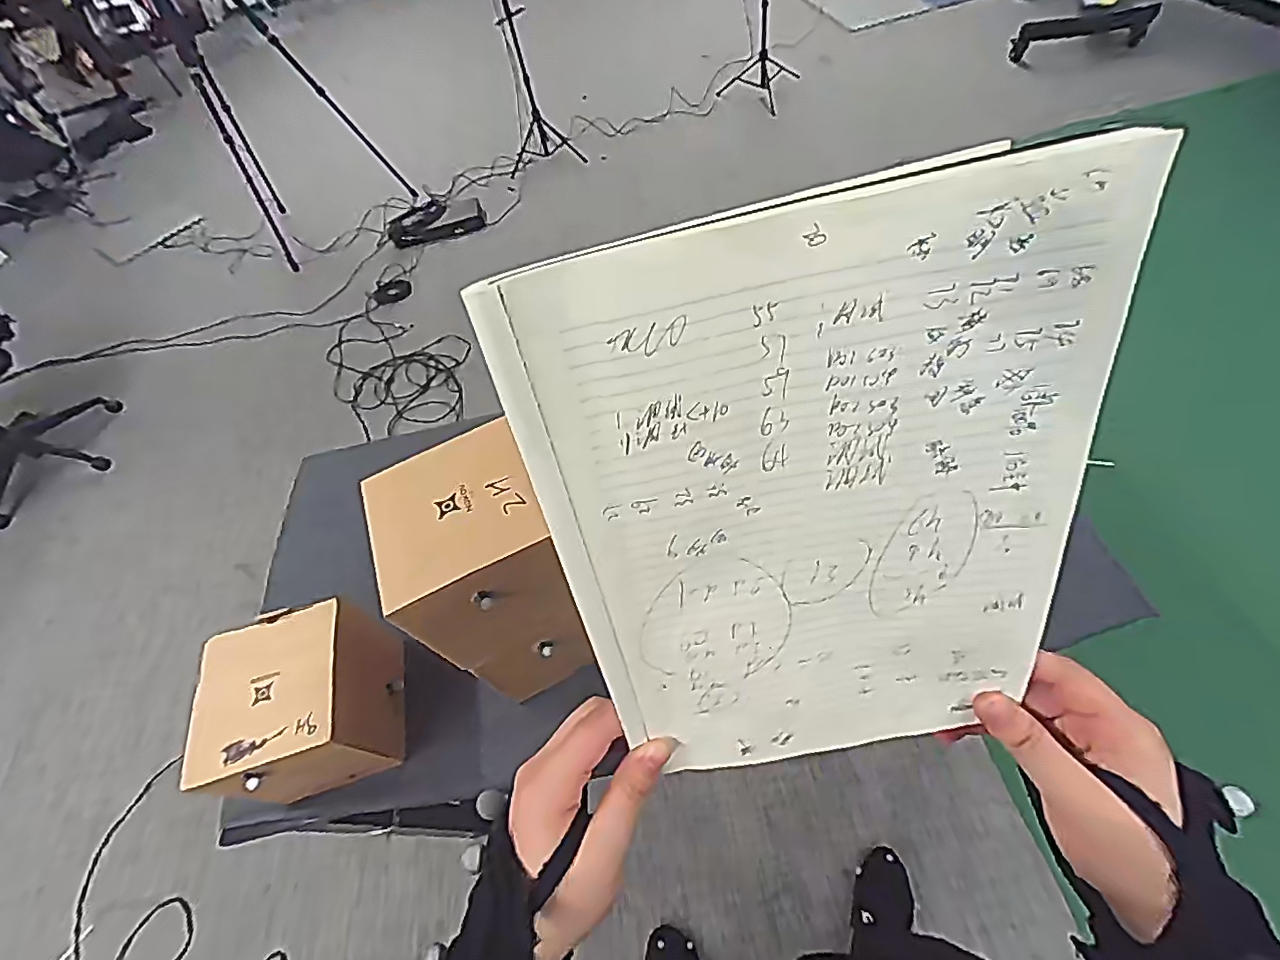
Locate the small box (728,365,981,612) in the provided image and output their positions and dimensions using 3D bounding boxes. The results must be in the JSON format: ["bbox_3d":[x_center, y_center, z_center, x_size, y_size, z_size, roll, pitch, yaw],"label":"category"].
[{"bbox_3d":[0.198,0.015,0.559,0.179,0.176,0.168,-15,54,1],"label":"small box"}]

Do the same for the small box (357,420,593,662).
[{"bbox_3d":[-0.172,0.073,0.591,0.179,0.176,0.168,-26,55,-7],"label":"small box"}]

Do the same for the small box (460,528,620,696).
[{"bbox_3d":[-0.147,0.163,0.727,0.179,0.176,0.168,-28,56,-9],"label":"small box"}]

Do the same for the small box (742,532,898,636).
[{"bbox_3d":[0.217,0.087,0.704,0.168,0.176,0.179,-2,56,11],"label":"small box"}]

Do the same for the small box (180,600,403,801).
[{"bbox_3d":[-0.422,0.285,0.691,0.168,0.176,0.179,-19,54,-2],"label":"small box"}]
